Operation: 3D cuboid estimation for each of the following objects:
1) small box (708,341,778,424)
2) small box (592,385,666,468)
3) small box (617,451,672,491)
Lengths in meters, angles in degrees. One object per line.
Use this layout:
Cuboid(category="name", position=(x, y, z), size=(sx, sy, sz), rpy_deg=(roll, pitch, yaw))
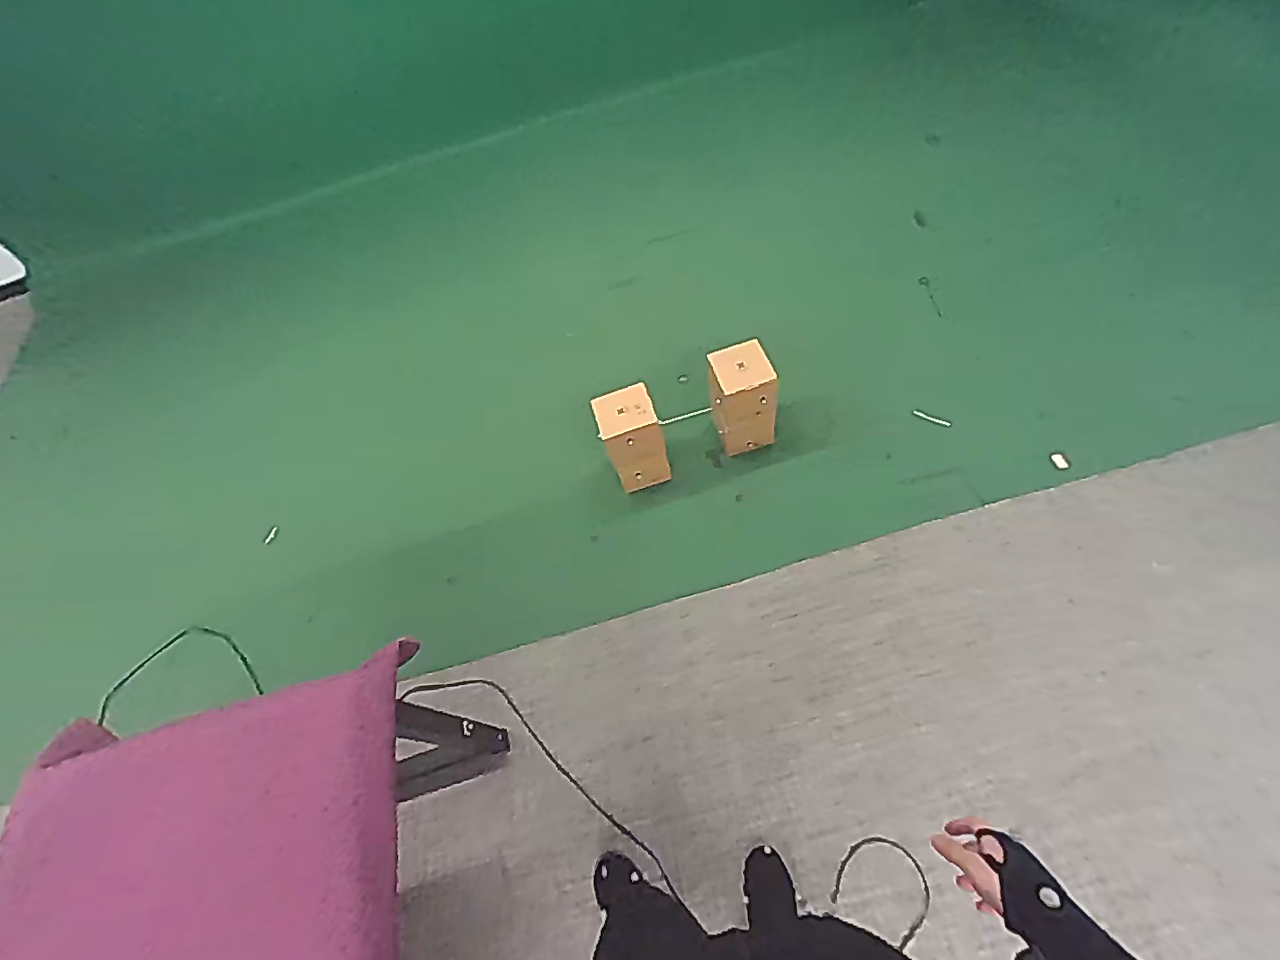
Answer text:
Cuboid(category="small box", position=(0.321, -0.297, 1.691), size=(0.168, 0.176, 0.179), rpy_deg=(-18, 58, 0))
Cuboid(category="small box", position=(-0.031, -0.160, 1.685), size=(0.179, 0.176, 0.168), rpy_deg=(-18, 57, 0))
Cuboid(category="small box", position=(0.000, -0.082, 1.825), size=(0.168, 0.176, 0.179), rpy_deg=(-19, 57, 1))
